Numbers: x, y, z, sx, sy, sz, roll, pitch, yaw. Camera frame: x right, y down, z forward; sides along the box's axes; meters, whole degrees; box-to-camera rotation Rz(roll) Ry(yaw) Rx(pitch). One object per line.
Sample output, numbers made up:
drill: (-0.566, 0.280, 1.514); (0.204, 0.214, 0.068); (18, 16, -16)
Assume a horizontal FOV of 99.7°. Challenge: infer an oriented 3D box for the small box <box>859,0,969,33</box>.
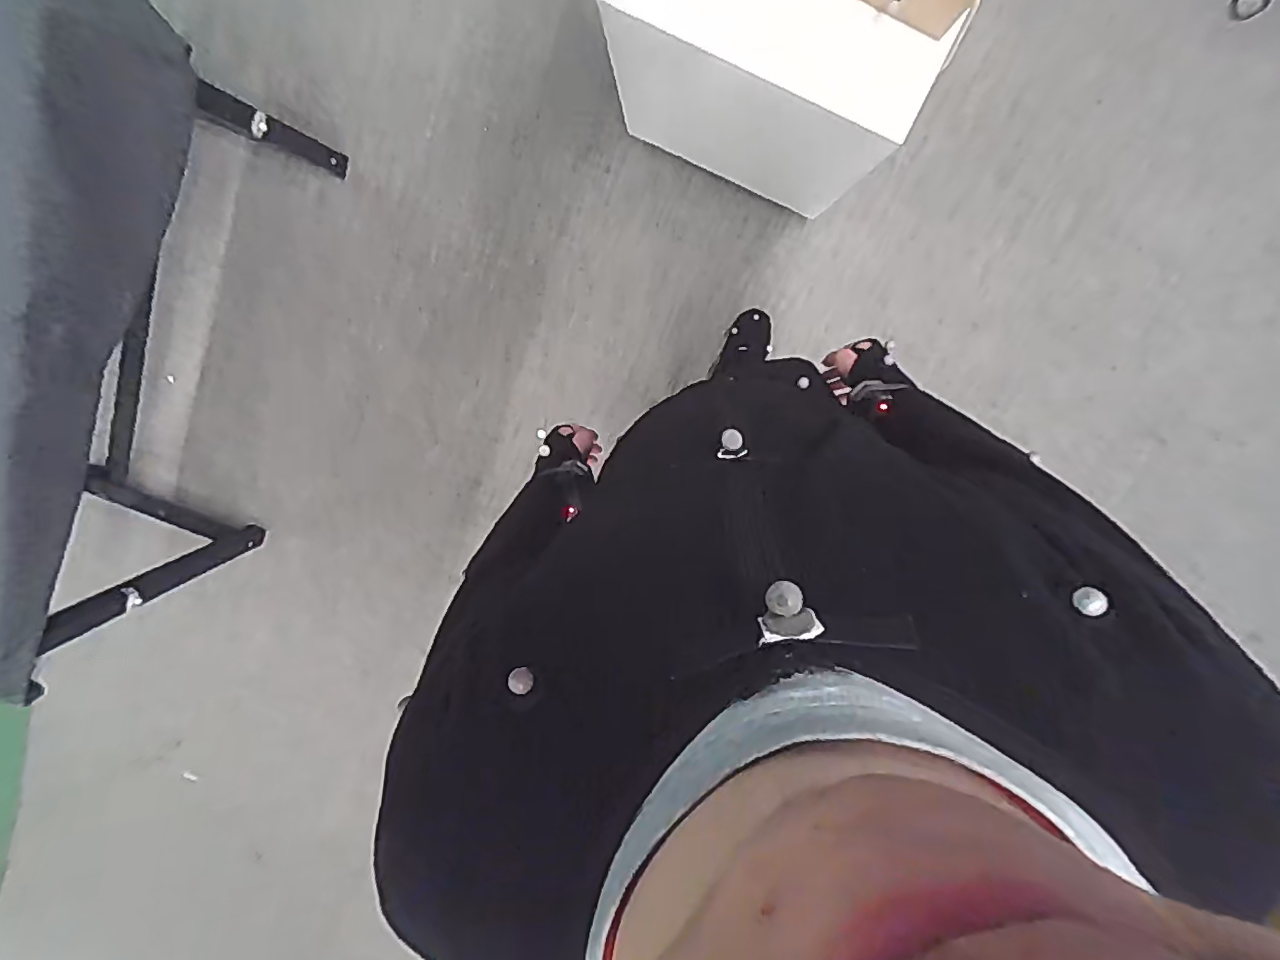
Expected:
small box: (0.376, -0.713, 0.674); (0.179, 0.176, 0.168); (25, 104, -5)
